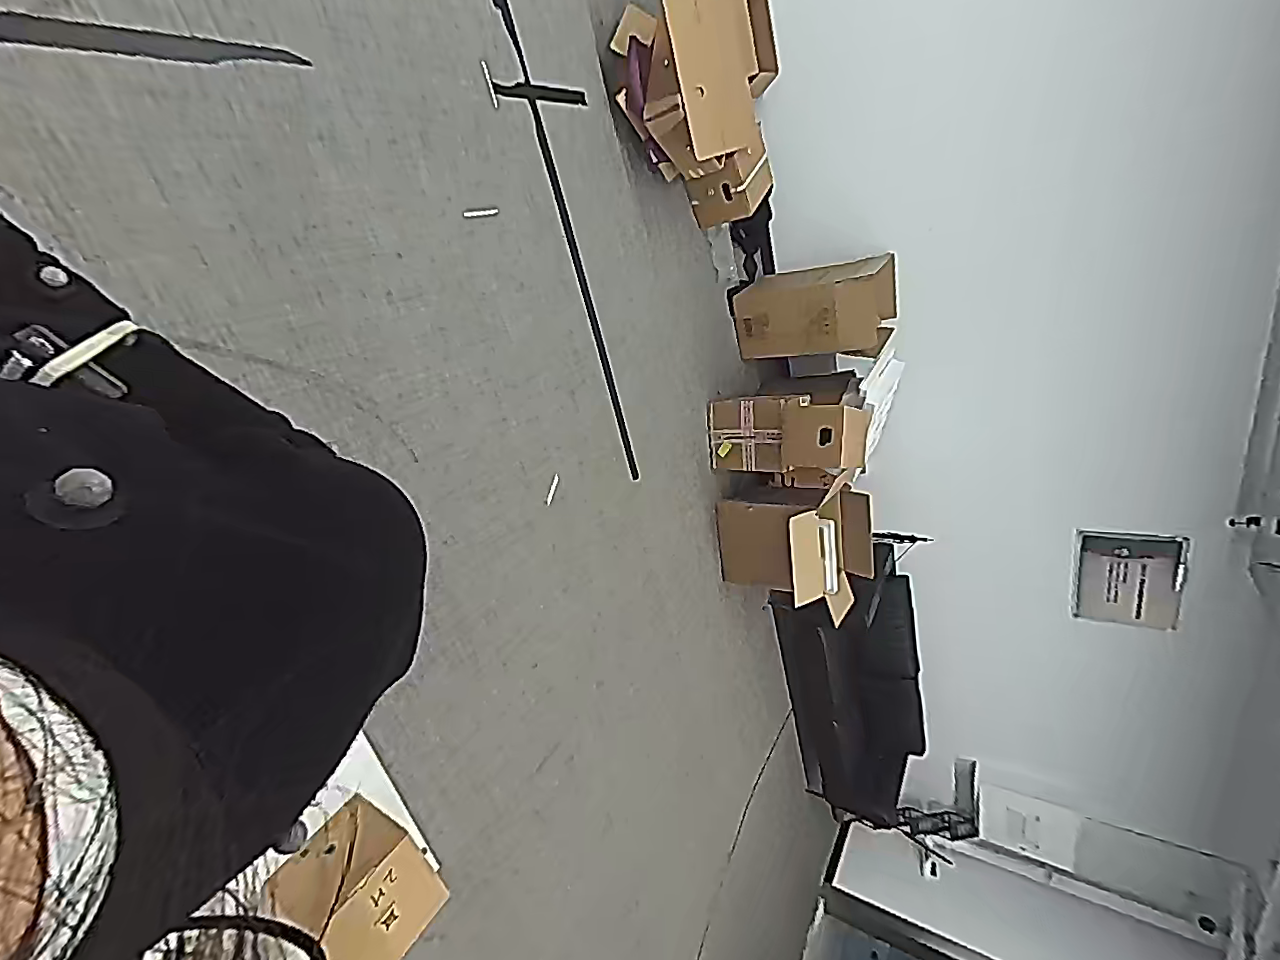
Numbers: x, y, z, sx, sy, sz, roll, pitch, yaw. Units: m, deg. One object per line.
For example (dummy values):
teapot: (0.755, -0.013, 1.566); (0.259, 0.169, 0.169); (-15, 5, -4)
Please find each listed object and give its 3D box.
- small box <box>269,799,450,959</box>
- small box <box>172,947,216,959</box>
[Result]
small box: (-0.452, 0.663, 0.878); (0.168, 0.176, 0.179); (-41, 124, -45)
small box: (-0.592, 0.753, 0.686); (0.168, 0.176, 0.179); (-38, 121, -47)
